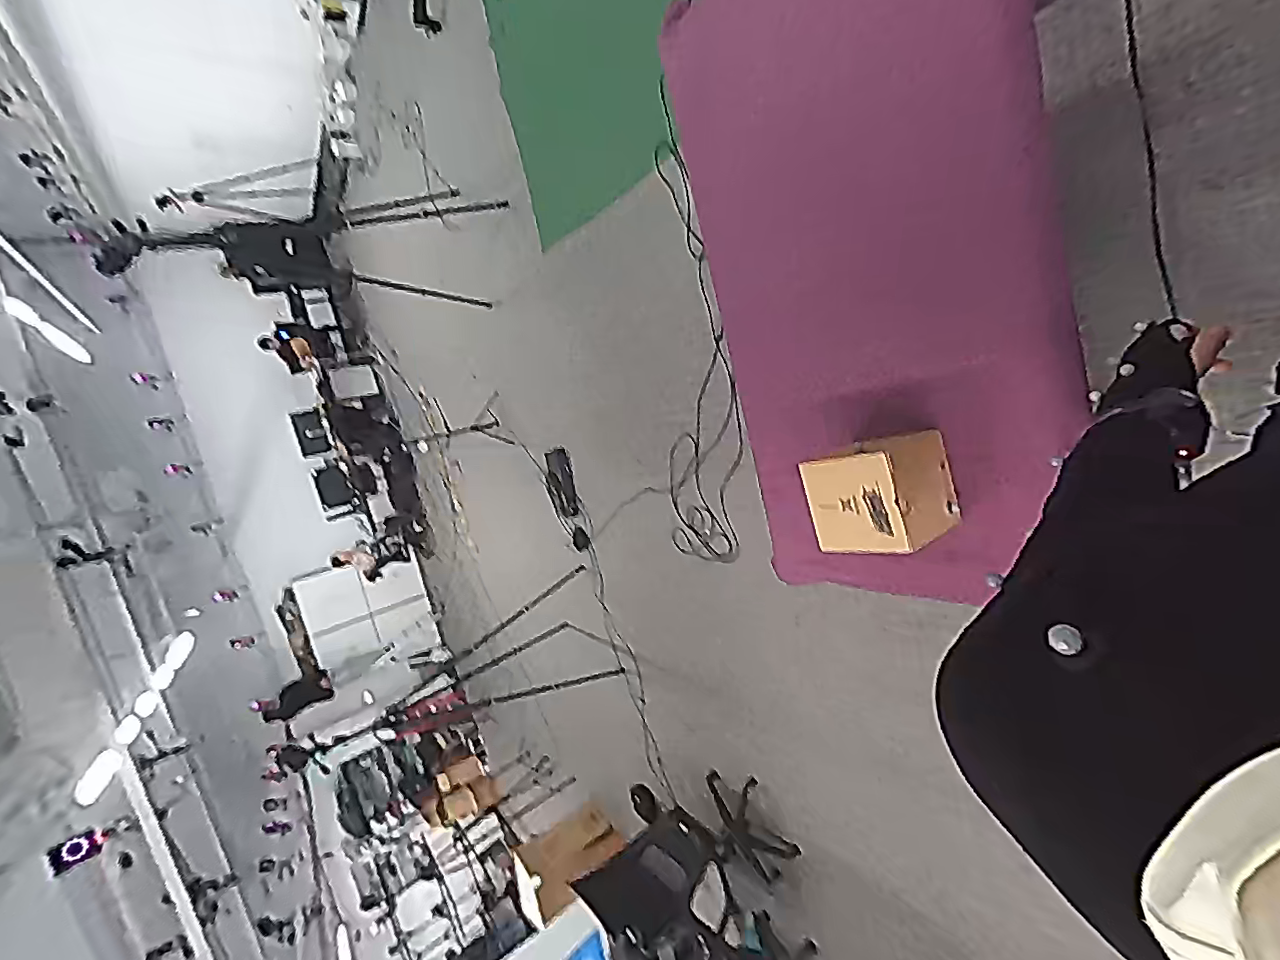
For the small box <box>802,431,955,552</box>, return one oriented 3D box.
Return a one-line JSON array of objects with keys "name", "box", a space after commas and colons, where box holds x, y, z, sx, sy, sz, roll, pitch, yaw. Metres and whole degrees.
[{"name": "small box", "box": [0.423, 0.020, 0.949, 0.179, 0.176, 0.168, -10, 97, 58]}]
